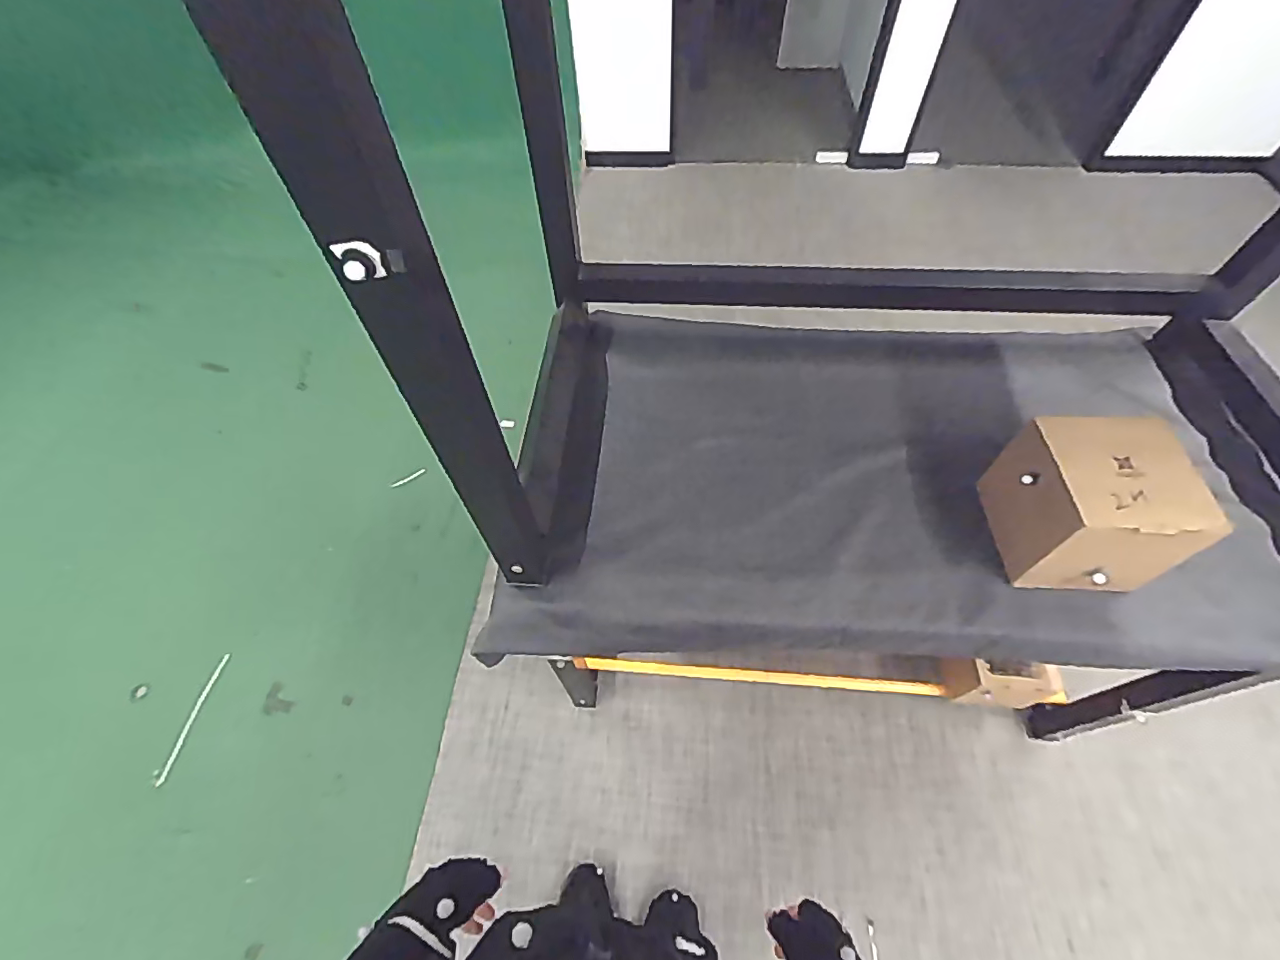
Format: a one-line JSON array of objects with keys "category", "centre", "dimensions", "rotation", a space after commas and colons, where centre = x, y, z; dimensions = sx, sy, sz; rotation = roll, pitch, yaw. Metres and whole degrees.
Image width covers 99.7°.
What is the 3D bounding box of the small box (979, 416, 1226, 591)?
[{"category": "small box", "centre": [0.606, 0.034, 0.744], "dimensions": [0.168, 0.176, 0.179], "rotation": [2, 54, 4]}]
